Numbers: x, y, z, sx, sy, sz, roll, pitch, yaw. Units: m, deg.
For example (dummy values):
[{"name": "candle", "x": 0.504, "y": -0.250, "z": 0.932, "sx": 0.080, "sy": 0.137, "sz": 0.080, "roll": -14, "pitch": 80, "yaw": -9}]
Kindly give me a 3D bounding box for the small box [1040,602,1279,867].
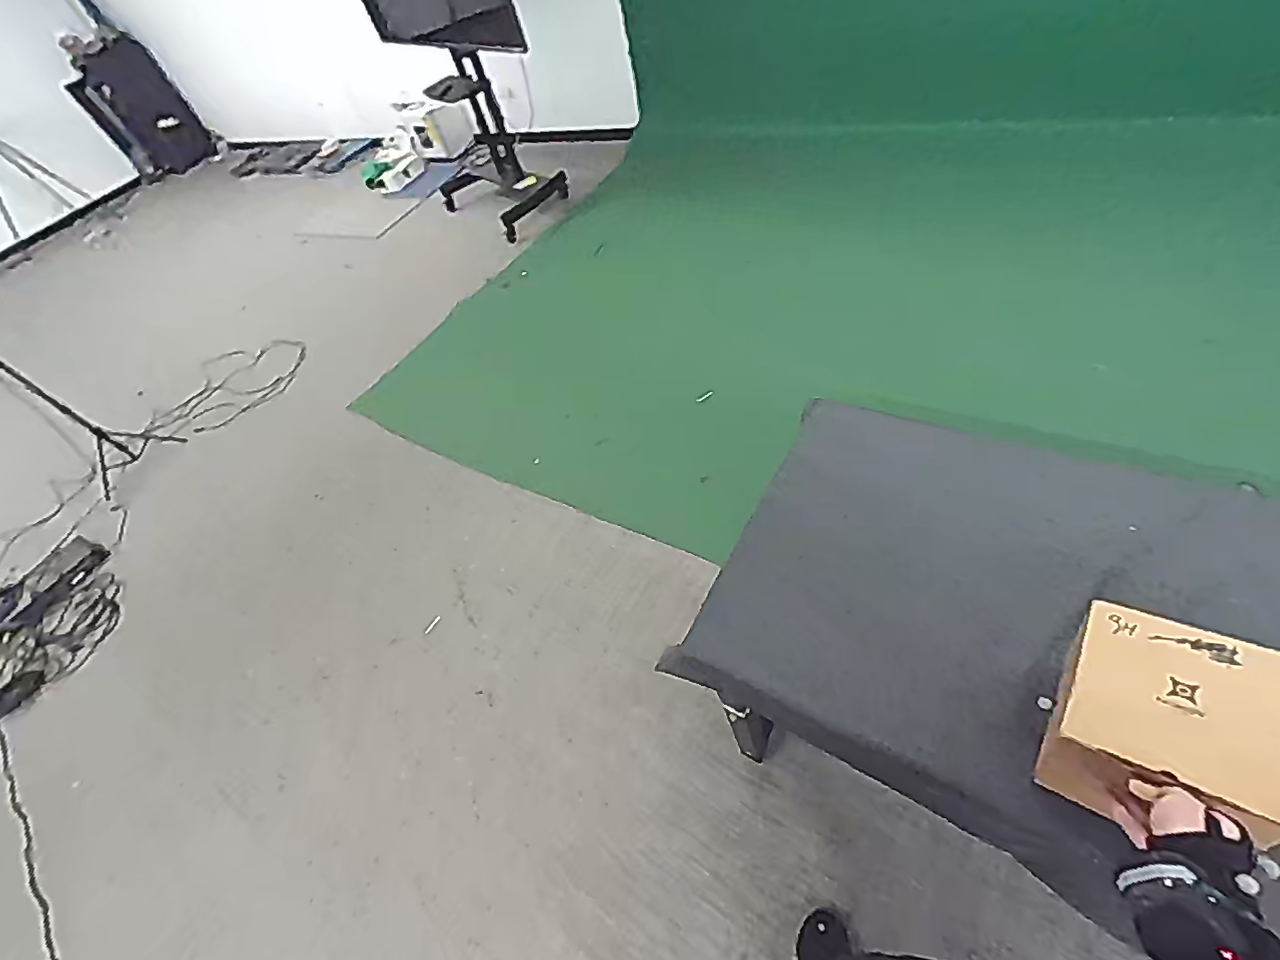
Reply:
[{"name": "small box", "x": 0.555, "y": 0.271, "z": 0.582, "sx": 0.168, "sy": 0.176, "sz": 0.179, "roll": 18, "pitch": 58, "yaw": 38}]
